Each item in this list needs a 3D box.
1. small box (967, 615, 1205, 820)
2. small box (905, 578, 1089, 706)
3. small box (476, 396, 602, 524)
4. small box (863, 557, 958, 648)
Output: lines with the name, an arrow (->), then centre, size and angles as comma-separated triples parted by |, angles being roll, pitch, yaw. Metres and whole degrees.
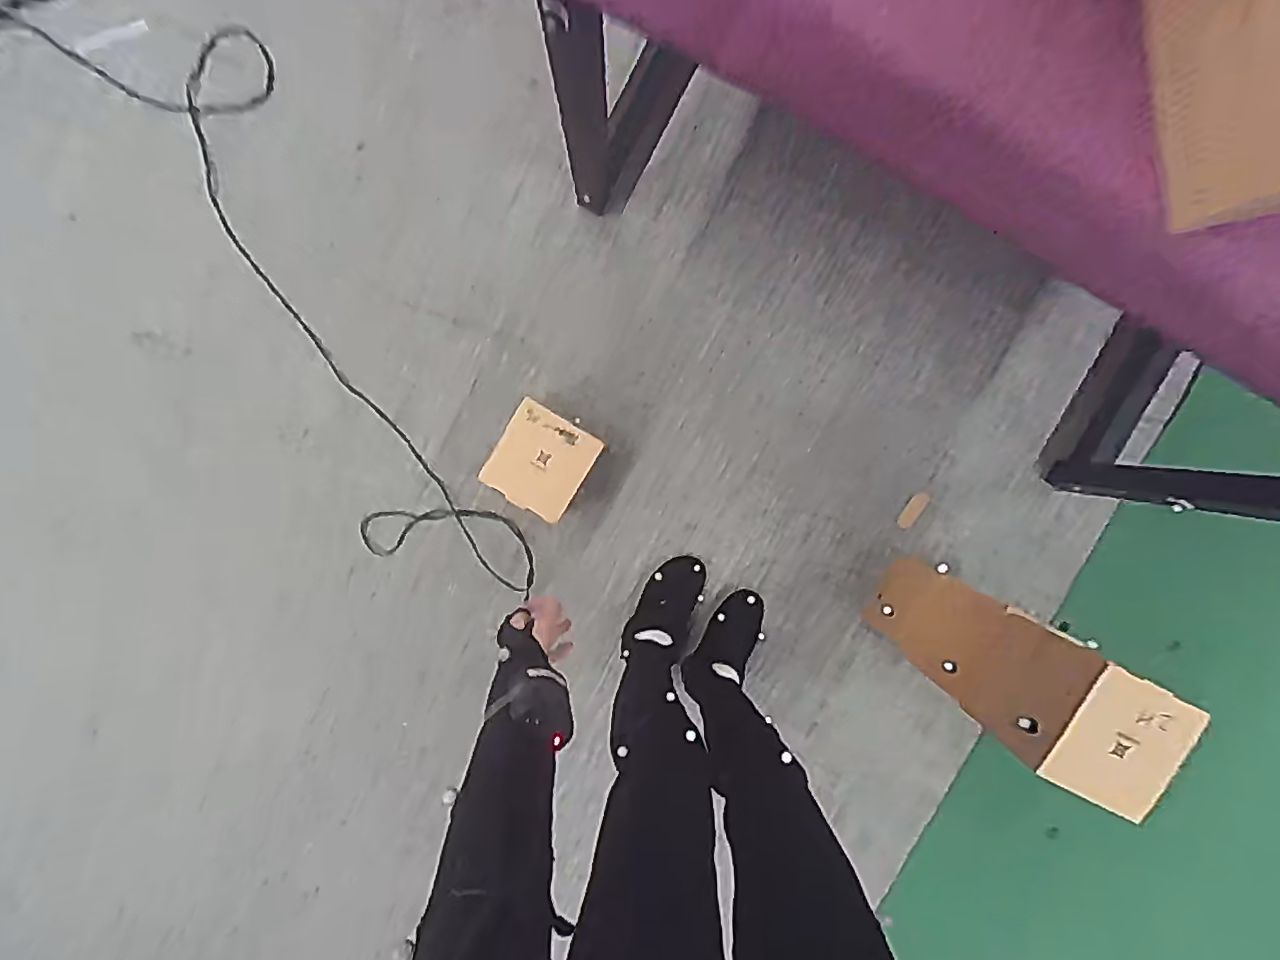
small box -> 0.615, 0.328, 0.777 | 0.168, 0.176, 0.179 | 27, 95, -5
small box -> 0.601, 0.294, 0.938 | 0.168, 0.176, 0.179 | 27, 96, -5
small box -> -0.180, -0.043, 1.038 | 0.168, 0.176, 0.179 | 32, 95, -5
small box -> 0.592, 0.273, 1.098 | 0.179, 0.176, 0.168 | 29, 94, -5
